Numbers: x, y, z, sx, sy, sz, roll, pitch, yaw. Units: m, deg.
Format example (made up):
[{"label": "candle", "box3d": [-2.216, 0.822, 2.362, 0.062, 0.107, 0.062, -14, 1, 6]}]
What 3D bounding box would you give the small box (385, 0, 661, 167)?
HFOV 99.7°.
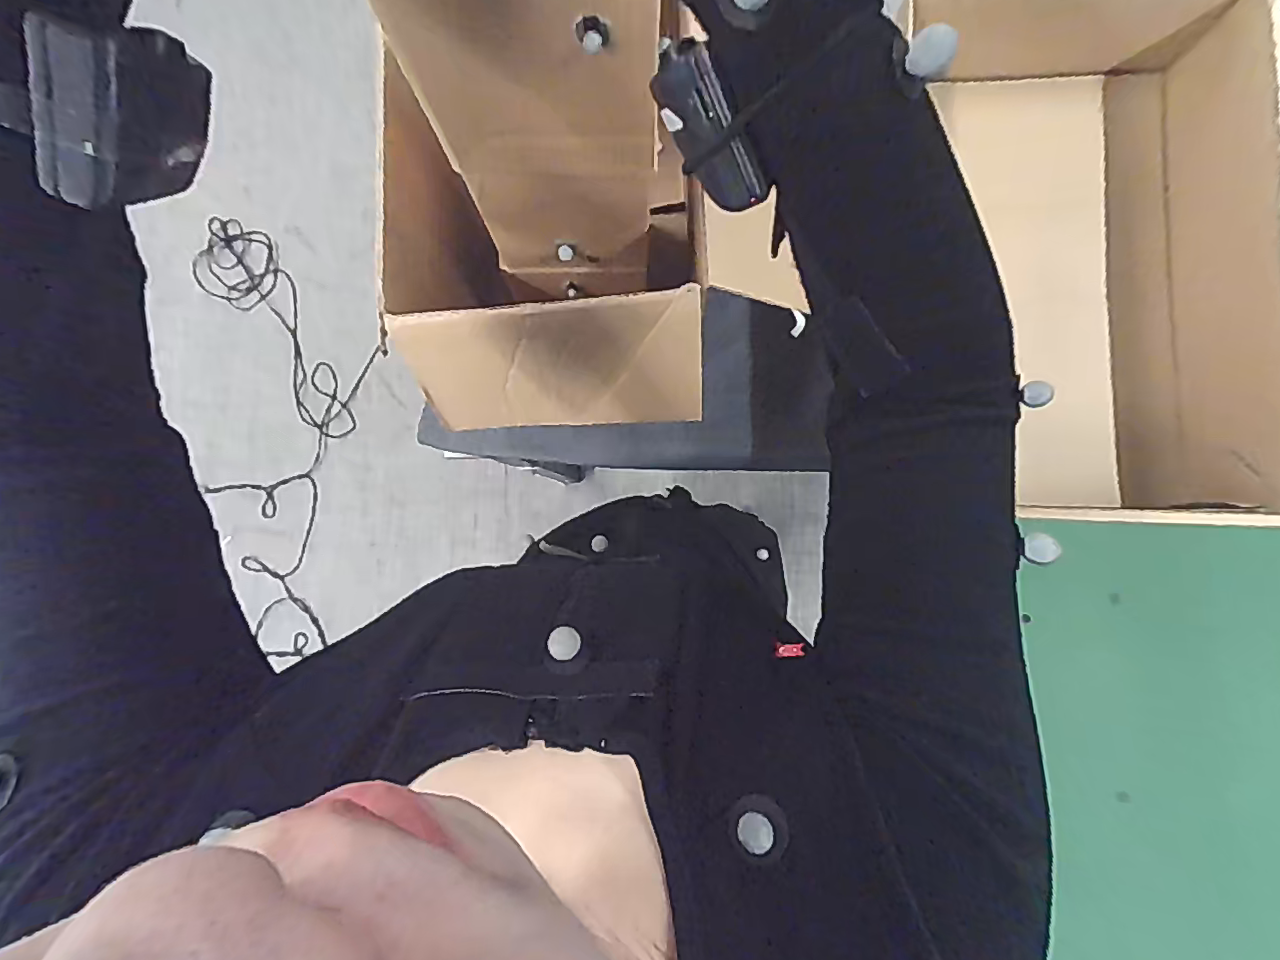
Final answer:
[{"label": "small box", "box3d": [-0.073, -0.357, 0.393, 0.179, 0.176, 0.168, 1, 85, -1]}]
